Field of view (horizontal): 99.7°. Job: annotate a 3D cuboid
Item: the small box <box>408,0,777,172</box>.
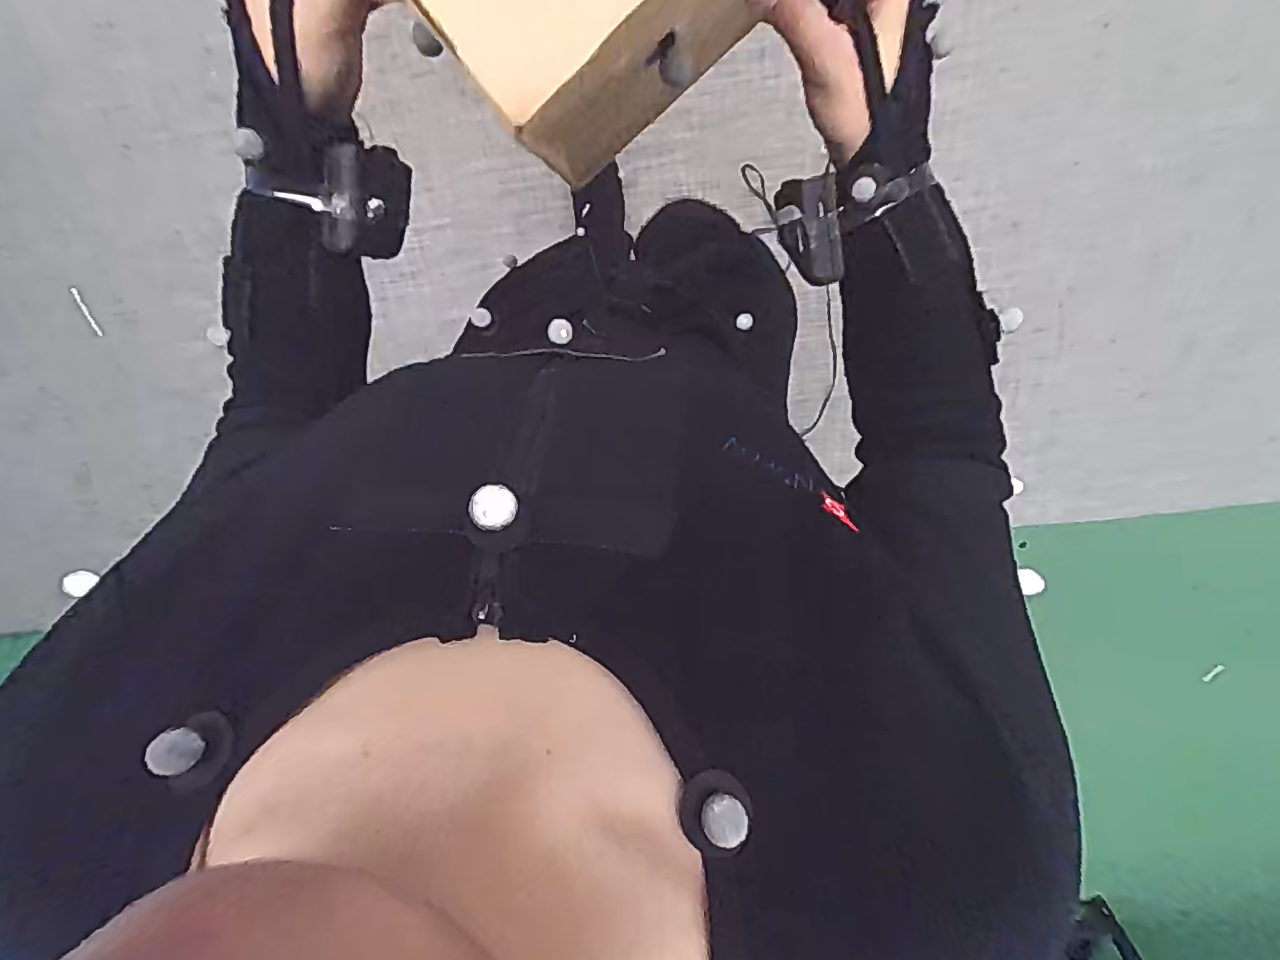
[{"bbox_3d":[-0.026,-0.269,0.233,0.179,0.176,0.168,-36,106,15],"label":"small box"}]
